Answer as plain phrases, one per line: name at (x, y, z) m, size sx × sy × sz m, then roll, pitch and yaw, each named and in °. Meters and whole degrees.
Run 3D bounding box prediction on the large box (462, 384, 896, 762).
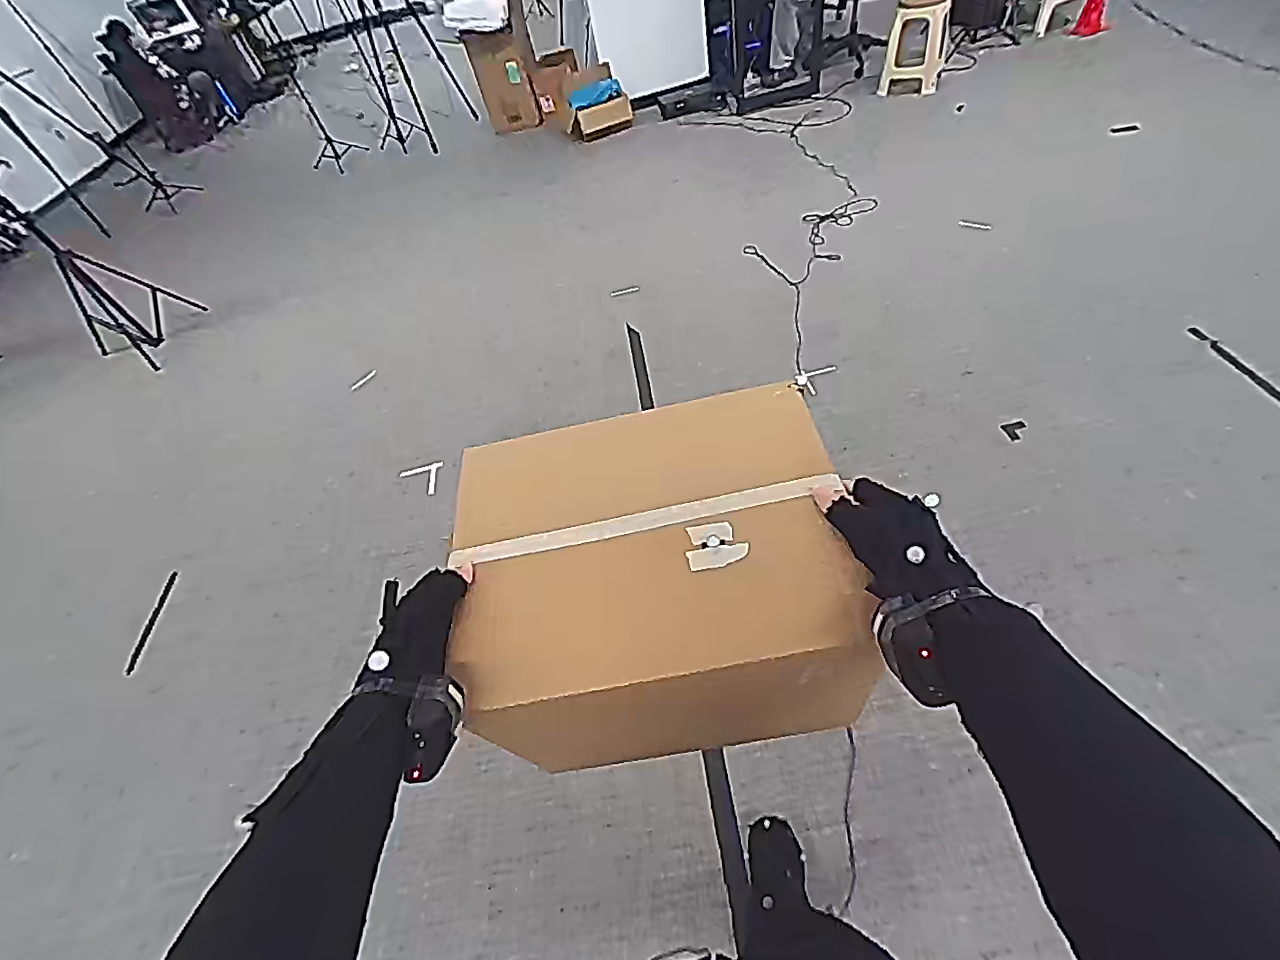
large box at (0.035, 0.130, 0.685) m, size 0.408 × 0.320 × 0.320 m, roll -11°, pitch 53°, yaw 3°
